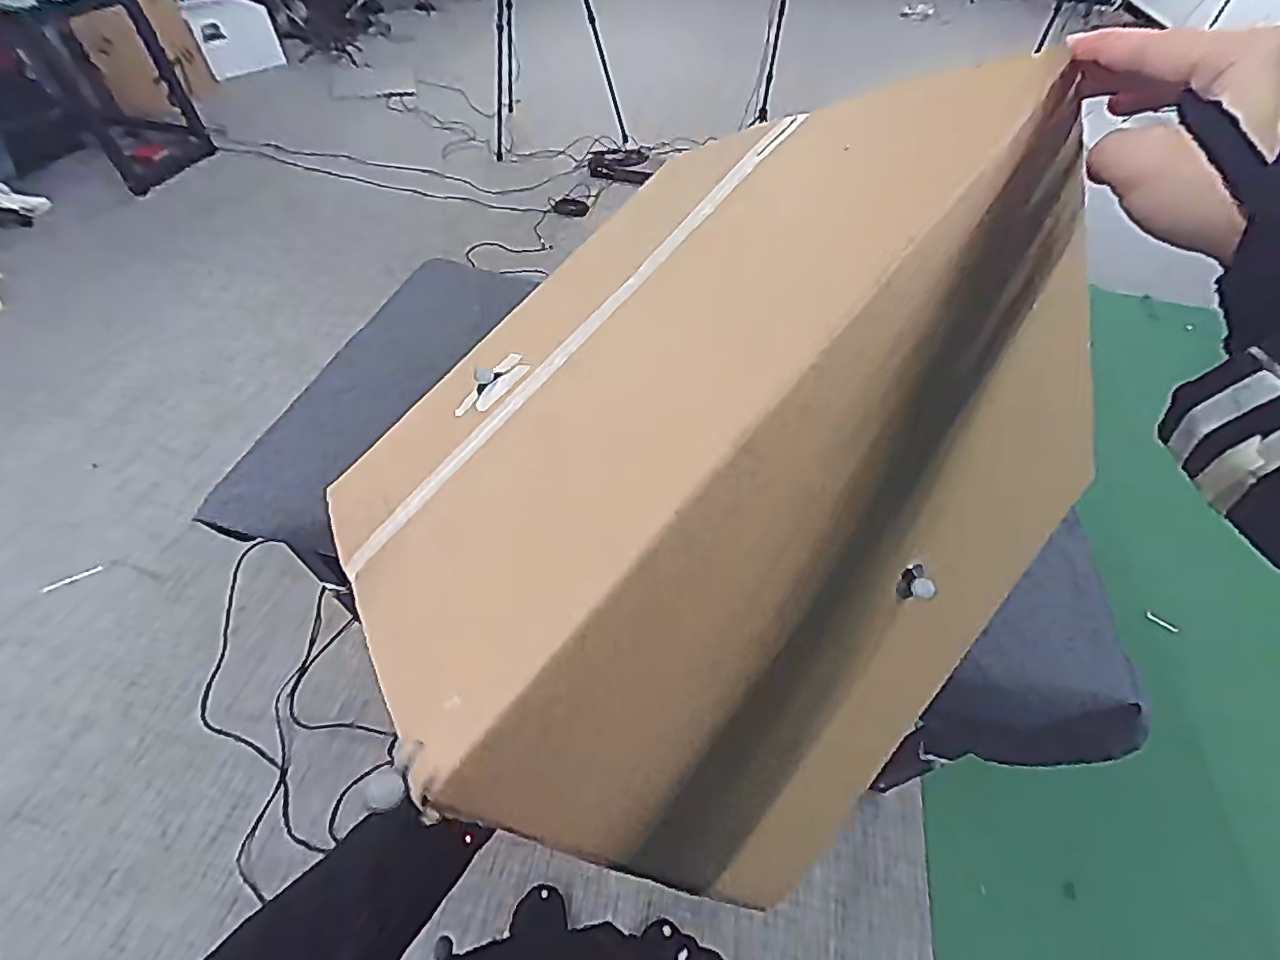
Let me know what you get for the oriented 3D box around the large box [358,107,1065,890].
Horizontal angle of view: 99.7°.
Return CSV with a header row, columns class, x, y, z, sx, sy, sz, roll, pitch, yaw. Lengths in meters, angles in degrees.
class,x,y,z,sx,sy,sz,roll,pitch,yaw
large box,0.069,0.009,0.432,0.408,0.320,0.320,-50,38,-10
